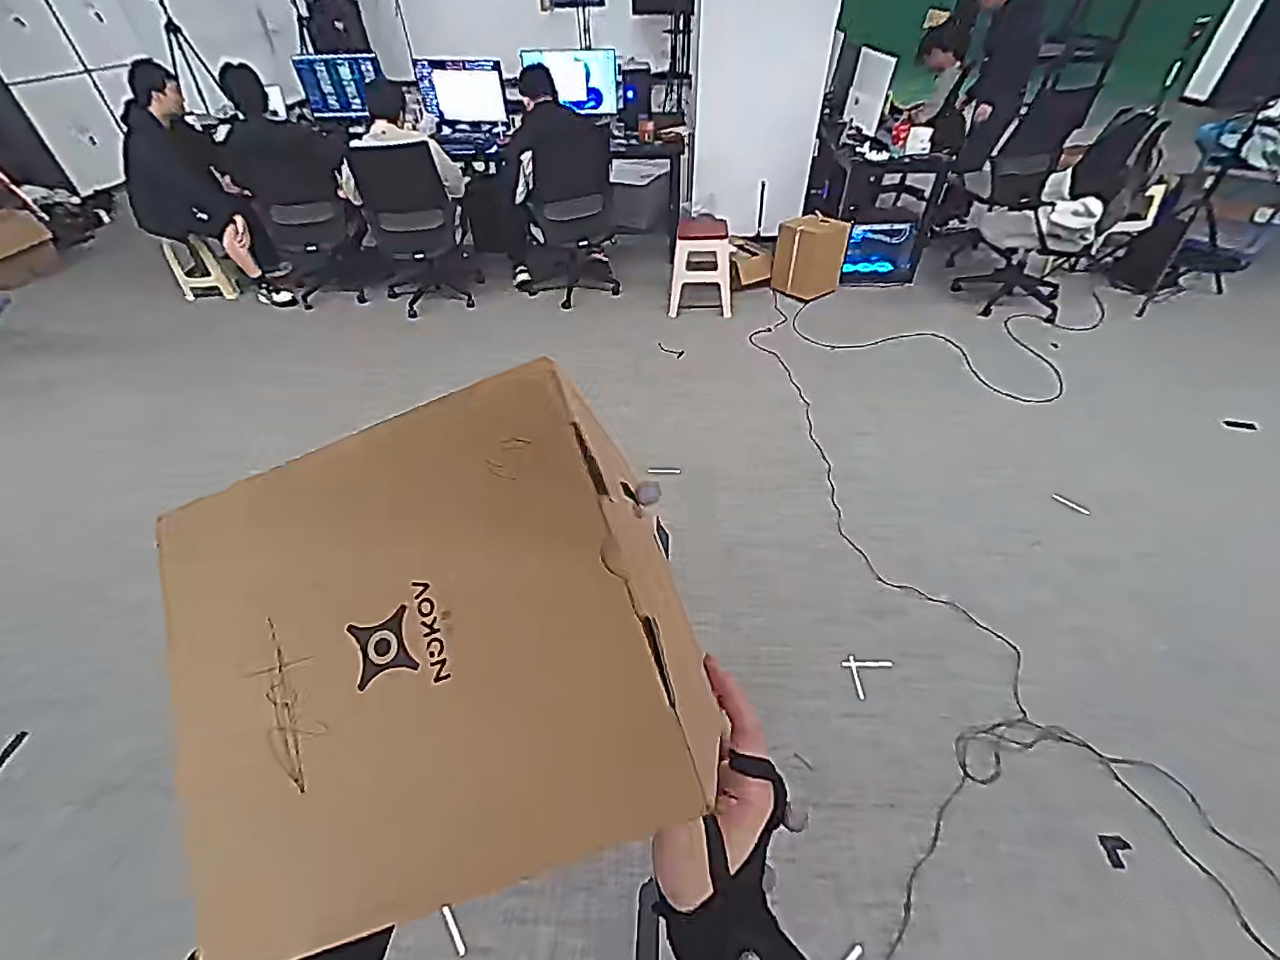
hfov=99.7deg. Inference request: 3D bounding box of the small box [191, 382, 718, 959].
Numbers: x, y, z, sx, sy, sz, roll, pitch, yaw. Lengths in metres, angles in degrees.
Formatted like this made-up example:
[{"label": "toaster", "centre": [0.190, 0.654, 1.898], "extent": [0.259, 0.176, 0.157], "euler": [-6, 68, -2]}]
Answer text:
[{"label": "small box", "centre": [-0.070, 0.082, 0.280], "extent": [0.179, 0.176, 0.168], "euler": [-24, 73, 4]}]
